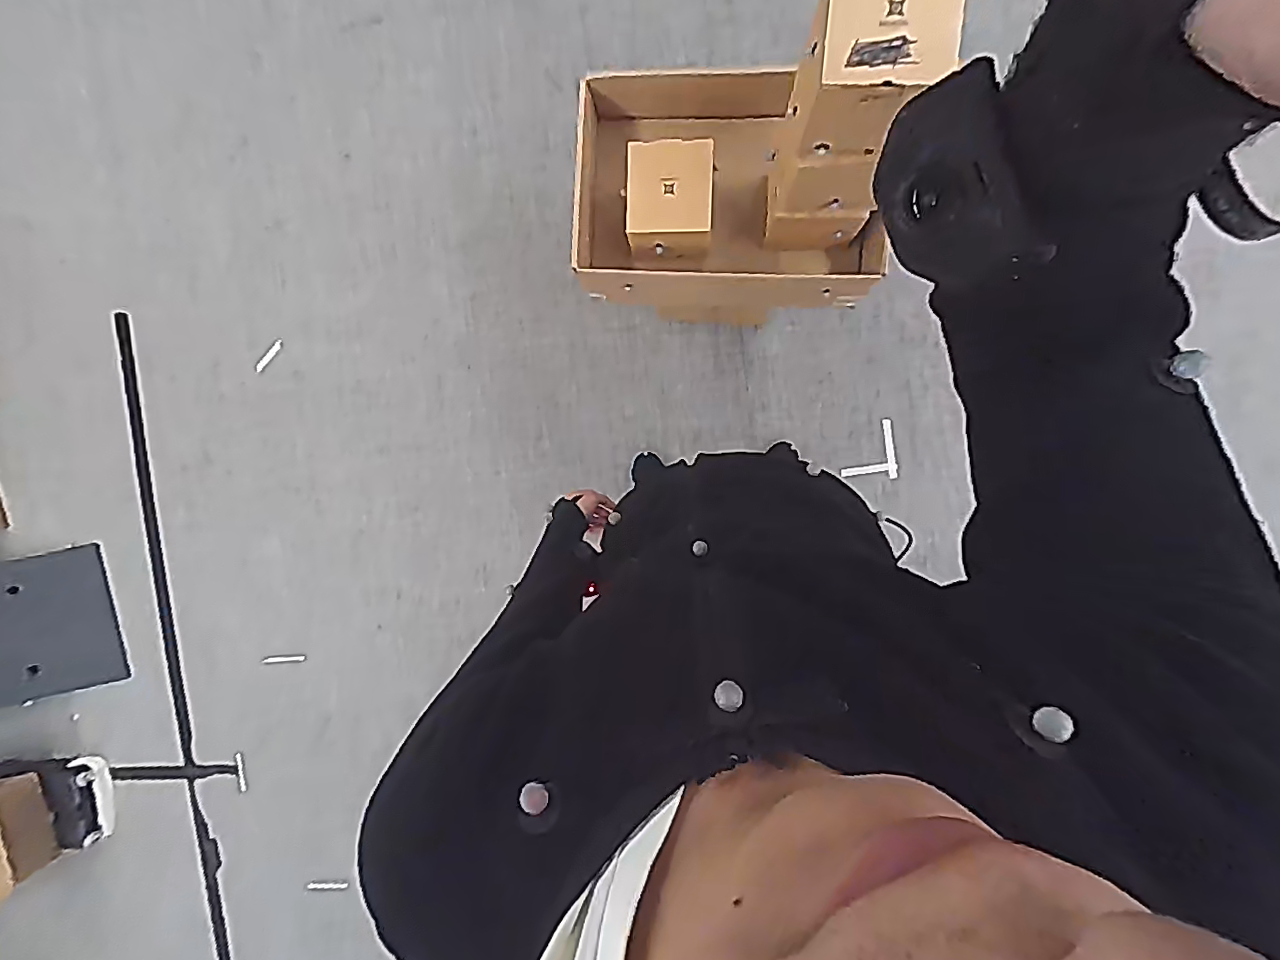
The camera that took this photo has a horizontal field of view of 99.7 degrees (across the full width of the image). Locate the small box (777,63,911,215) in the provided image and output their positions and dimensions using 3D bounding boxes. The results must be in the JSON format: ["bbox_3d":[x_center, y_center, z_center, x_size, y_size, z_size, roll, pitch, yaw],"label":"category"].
[{"bbox_3d":[0.338,-0.567,0.915,0.179,0.176,0.168,1,93,5],"label":"small box"}]

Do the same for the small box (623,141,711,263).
[{"bbox_3d":[0.060,-0.559,1.112,0.168,0.176,0.179,2,92,6],"label":"small box"}]

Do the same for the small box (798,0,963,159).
[{"bbox_3d":[0.321,-0.575,0.750,0.168,0.176,0.179,5,92,6],"label":"small box"}]
